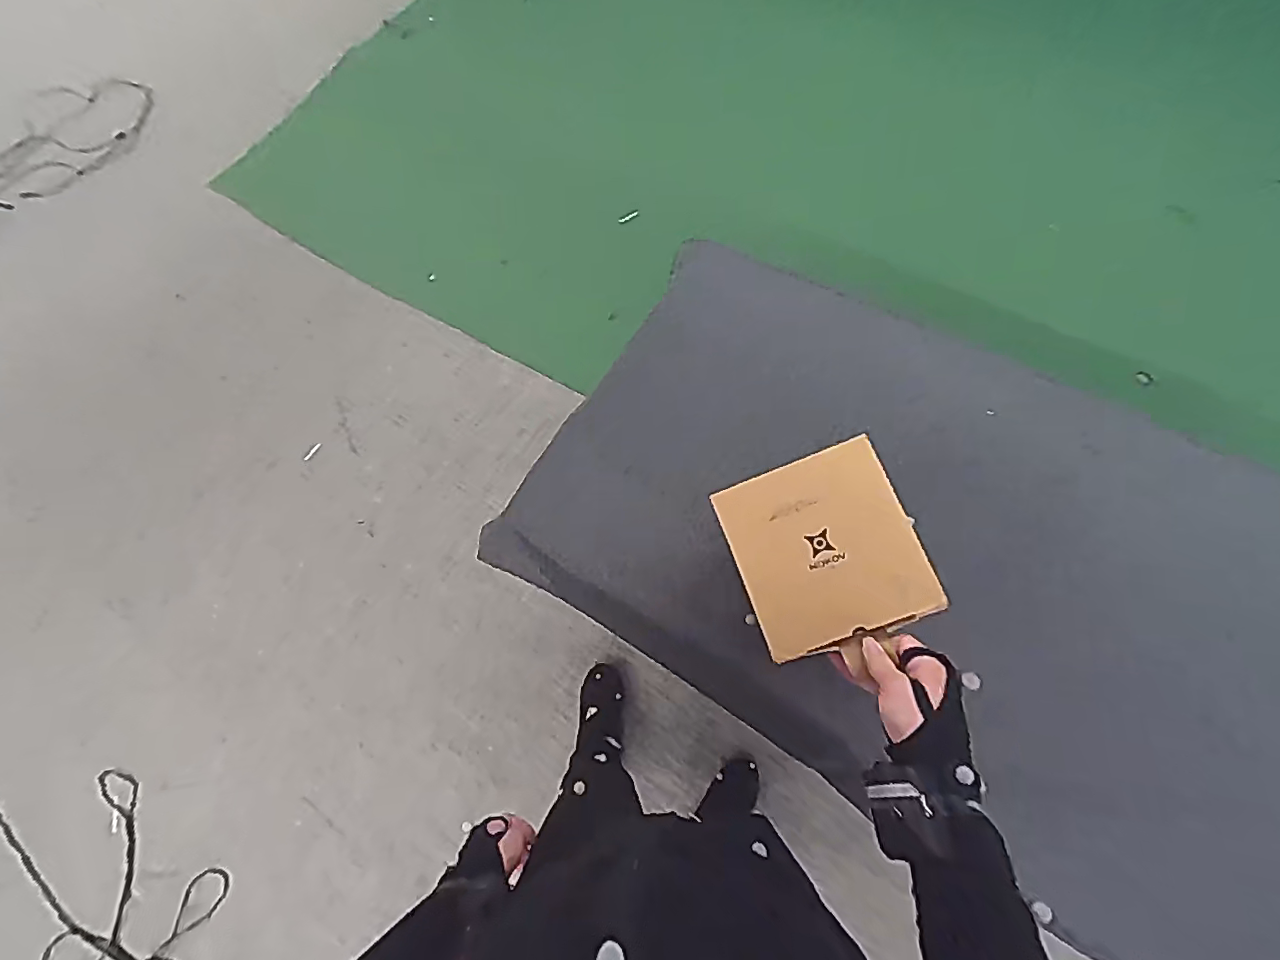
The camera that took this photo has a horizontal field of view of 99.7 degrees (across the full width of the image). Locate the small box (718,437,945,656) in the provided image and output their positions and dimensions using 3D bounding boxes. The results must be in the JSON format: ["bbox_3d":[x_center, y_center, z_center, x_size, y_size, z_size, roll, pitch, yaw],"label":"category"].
[{"bbox_3d":[0.197,0.079,0.598,0.168,0.176,0.179,-20,72,8],"label":"small box"}]
